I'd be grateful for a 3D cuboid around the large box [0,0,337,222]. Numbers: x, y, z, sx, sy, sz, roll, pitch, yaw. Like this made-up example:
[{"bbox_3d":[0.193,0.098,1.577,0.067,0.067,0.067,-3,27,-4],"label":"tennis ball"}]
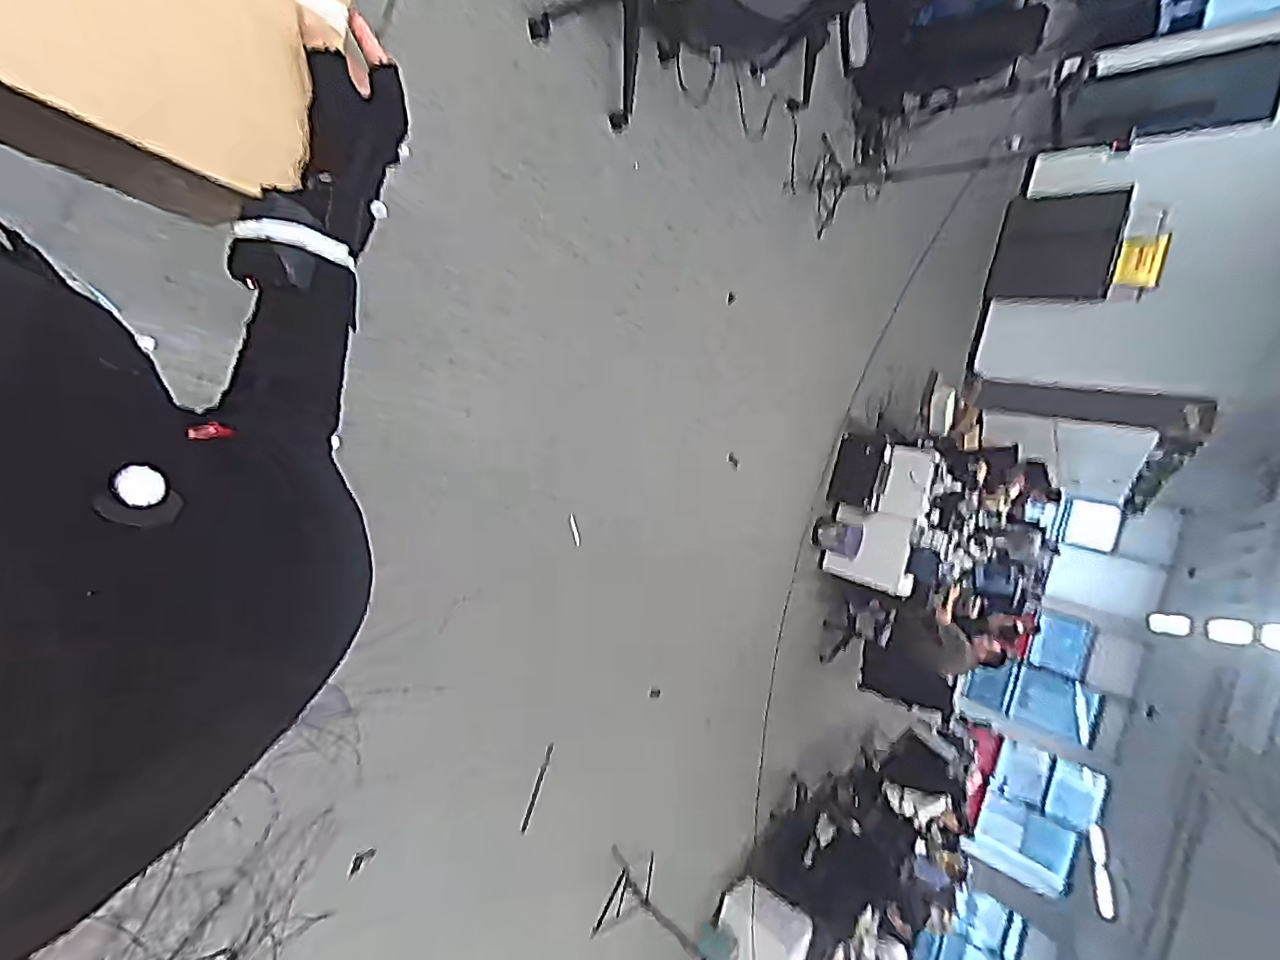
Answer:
[{"bbox_3d":[-0.486,-0.431,0.379,0.408,0.320,0.320,12,97,-52],"label":"large box"}]
